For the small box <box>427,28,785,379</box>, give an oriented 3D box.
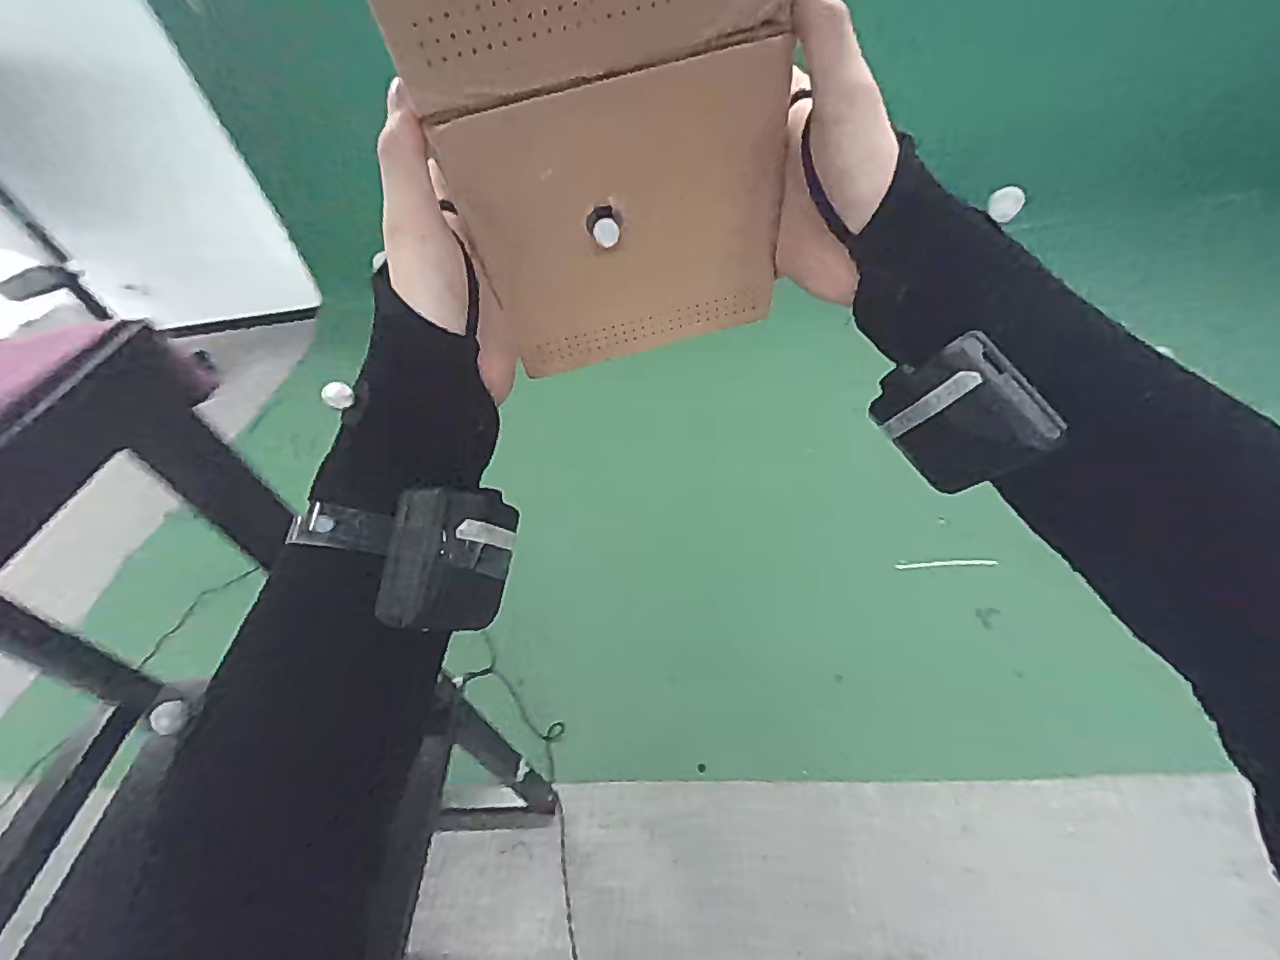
[{"bbox_3d":[-0.018,-0.192,0.357,0.179,0.176,0.168,-16,57,0],"label":"small box"}]
